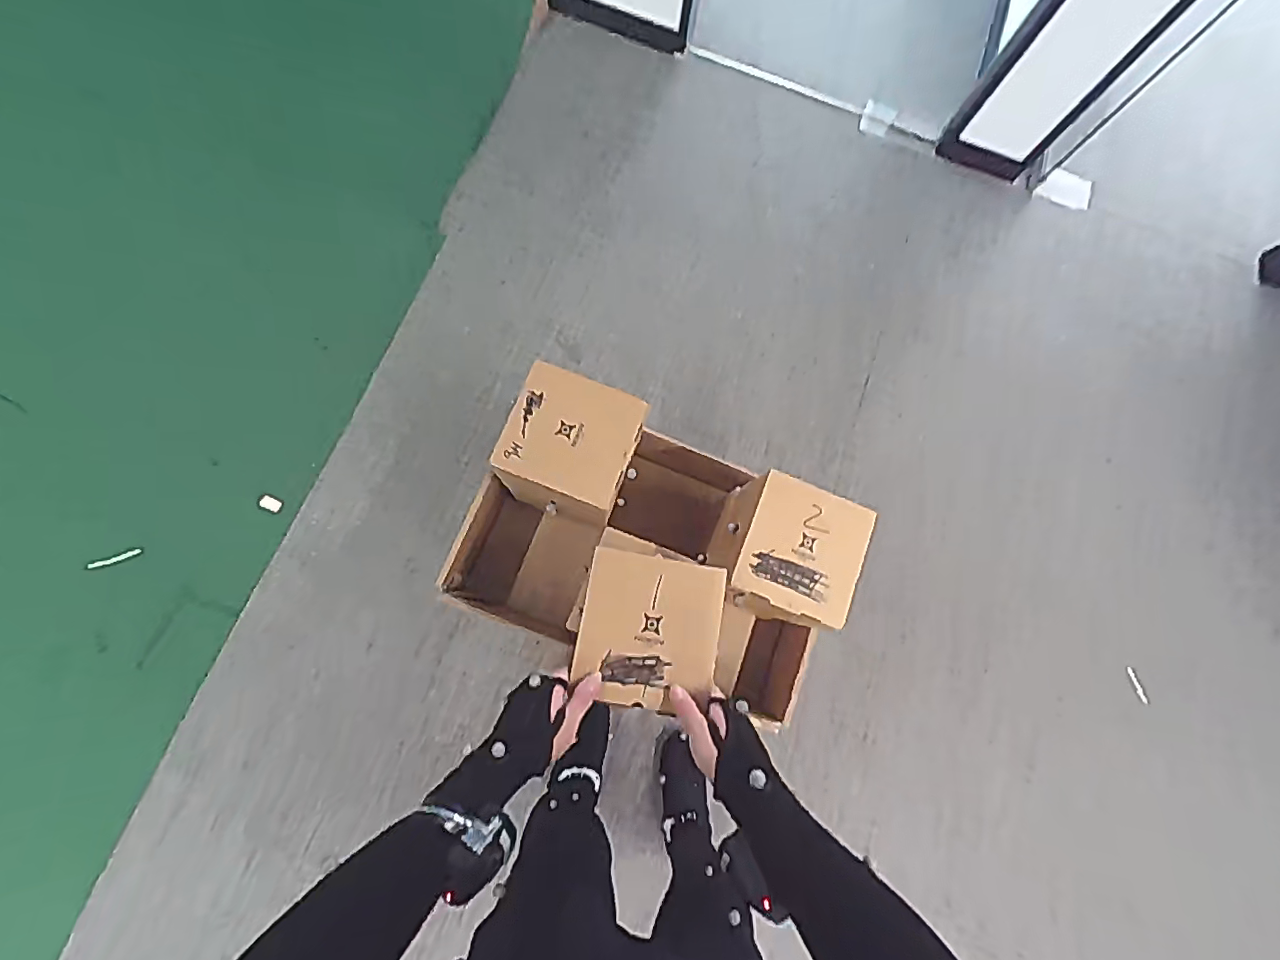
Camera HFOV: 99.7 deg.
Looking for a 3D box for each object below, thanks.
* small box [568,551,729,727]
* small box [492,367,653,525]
[{"bbox_3d":[0.007,0.202,0.705,0.168,0.176,0.179,11,75,-2],"label":"small box"},{"bbox_3d":[-0.099,-0.039,0.823,0.179,0.176,0.168,22,76,-1],"label":"small box"}]
